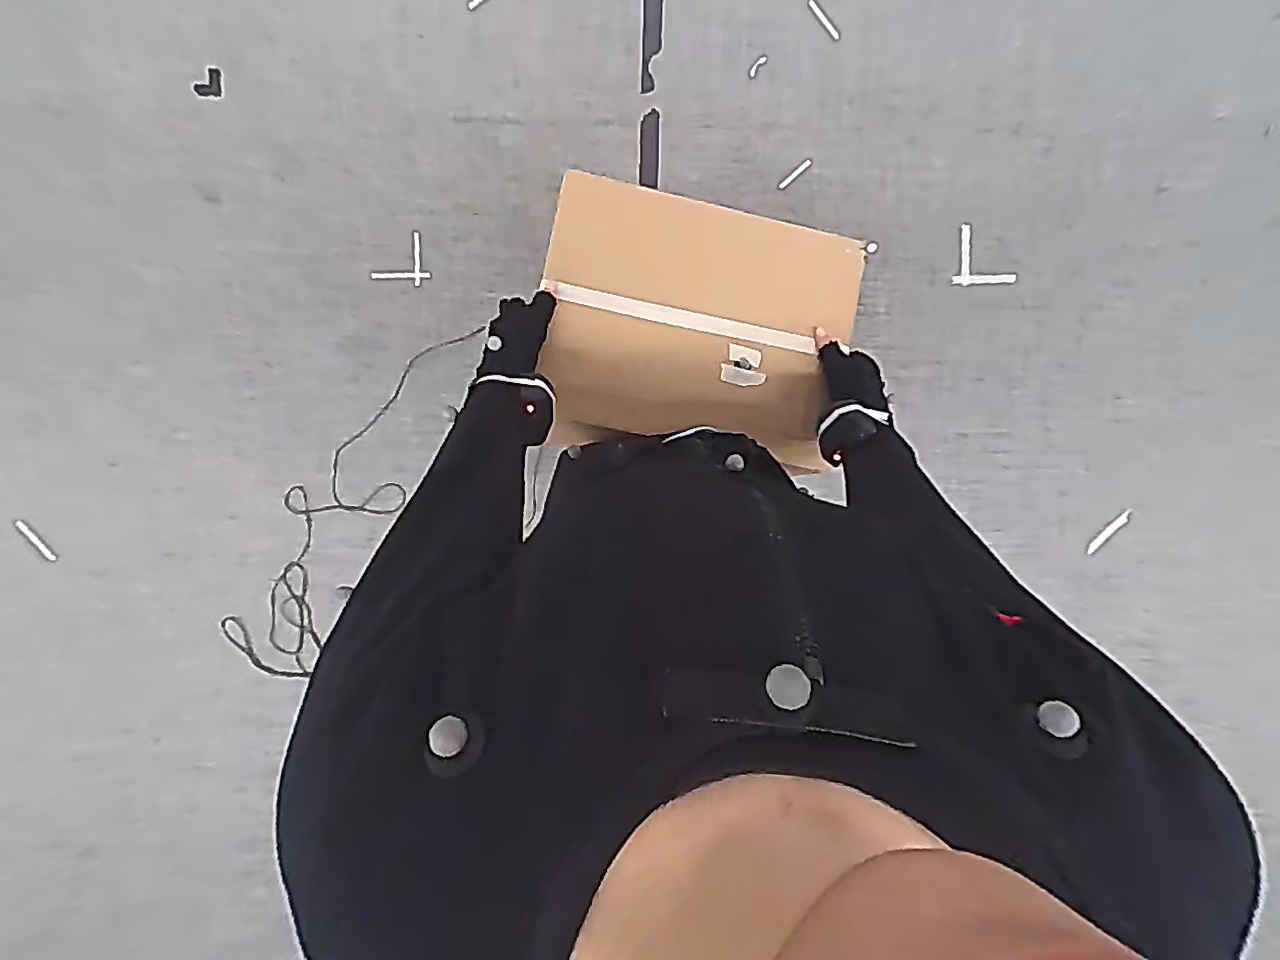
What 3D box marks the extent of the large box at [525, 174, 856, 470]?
[{"bbox_3d":[0.056,-0.205,0.851,0.408,0.320,0.320,12,88,-6],"label":"large box"}]
